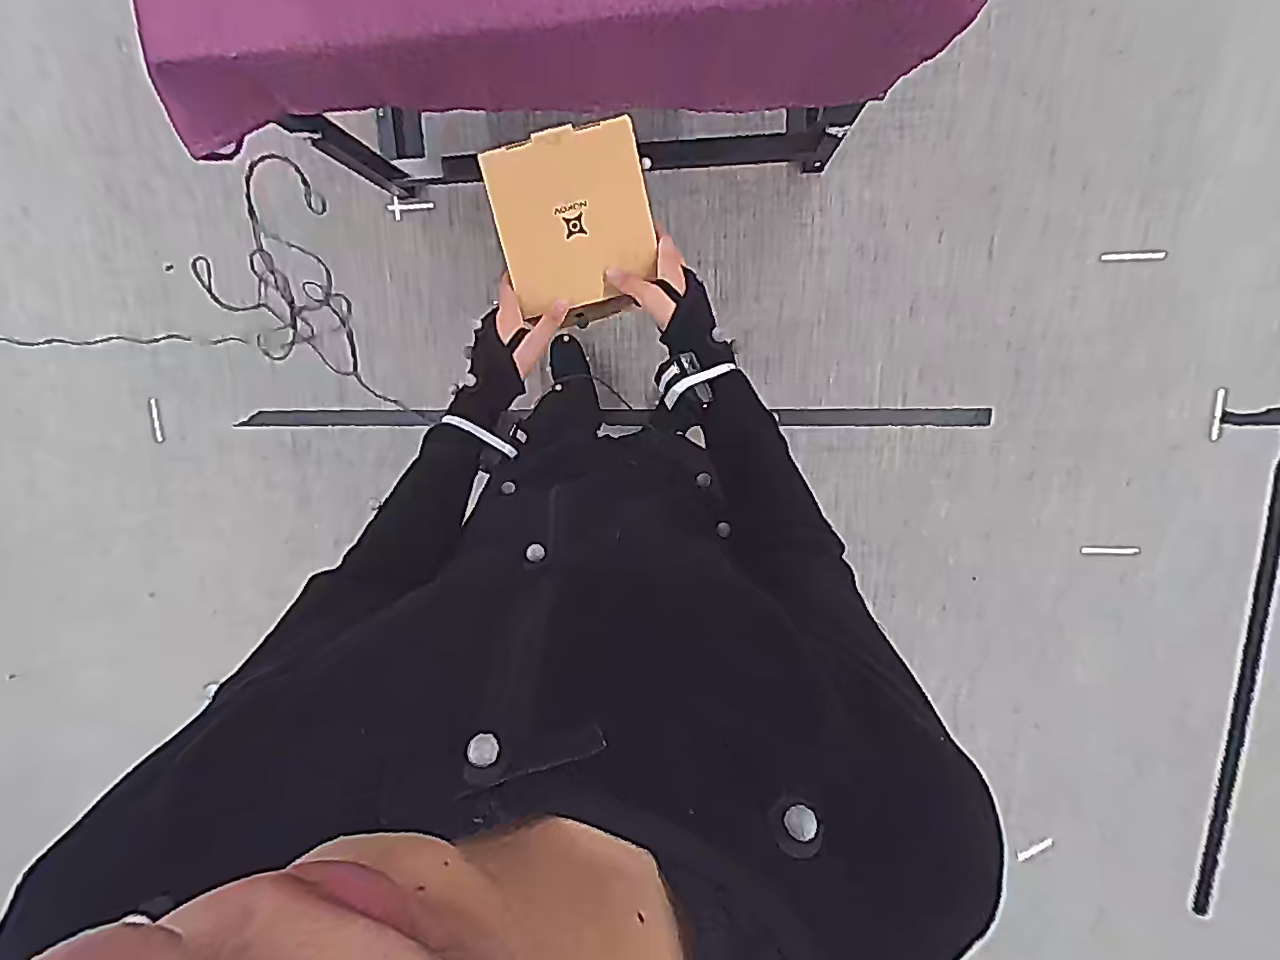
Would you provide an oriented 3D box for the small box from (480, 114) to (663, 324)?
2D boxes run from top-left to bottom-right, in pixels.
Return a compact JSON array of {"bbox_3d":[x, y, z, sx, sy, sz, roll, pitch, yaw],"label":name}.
[{"bbox_3d":[-0.071,-0.296,0.658,0.168,0.176,0.179,-14,100,2],"label":"small box"}]
